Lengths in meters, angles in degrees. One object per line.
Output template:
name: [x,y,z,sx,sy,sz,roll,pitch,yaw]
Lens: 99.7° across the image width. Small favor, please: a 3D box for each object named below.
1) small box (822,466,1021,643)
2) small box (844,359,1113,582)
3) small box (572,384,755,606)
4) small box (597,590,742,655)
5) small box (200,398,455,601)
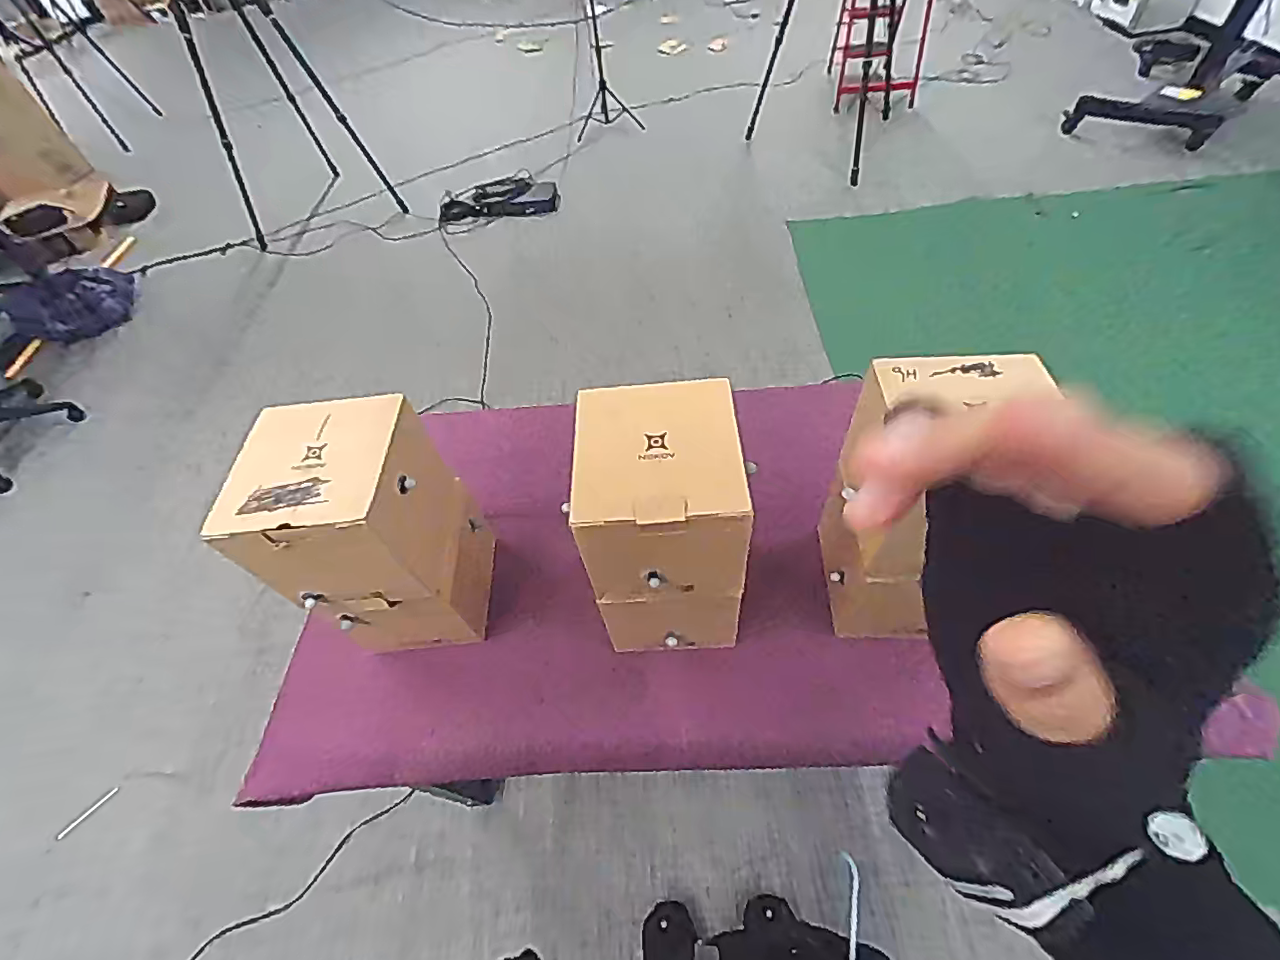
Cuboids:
small box: [0.341,0.098,0.698,0.168,0.176,0.179,0,52,6]
small box: [0.327,-0.004,0.570,0.168,0.176,0.179,0,54,6]
small box: [0.025,0.020,0.589,0.168,0.176,0.179,-4,53,3]
small box: [0.040,0.117,0.719,0.168,0.176,0.179,-4,53,5]
small box: [-0.329,0.030,0.616,0.168,0.176,0.179,-2,53,2]
